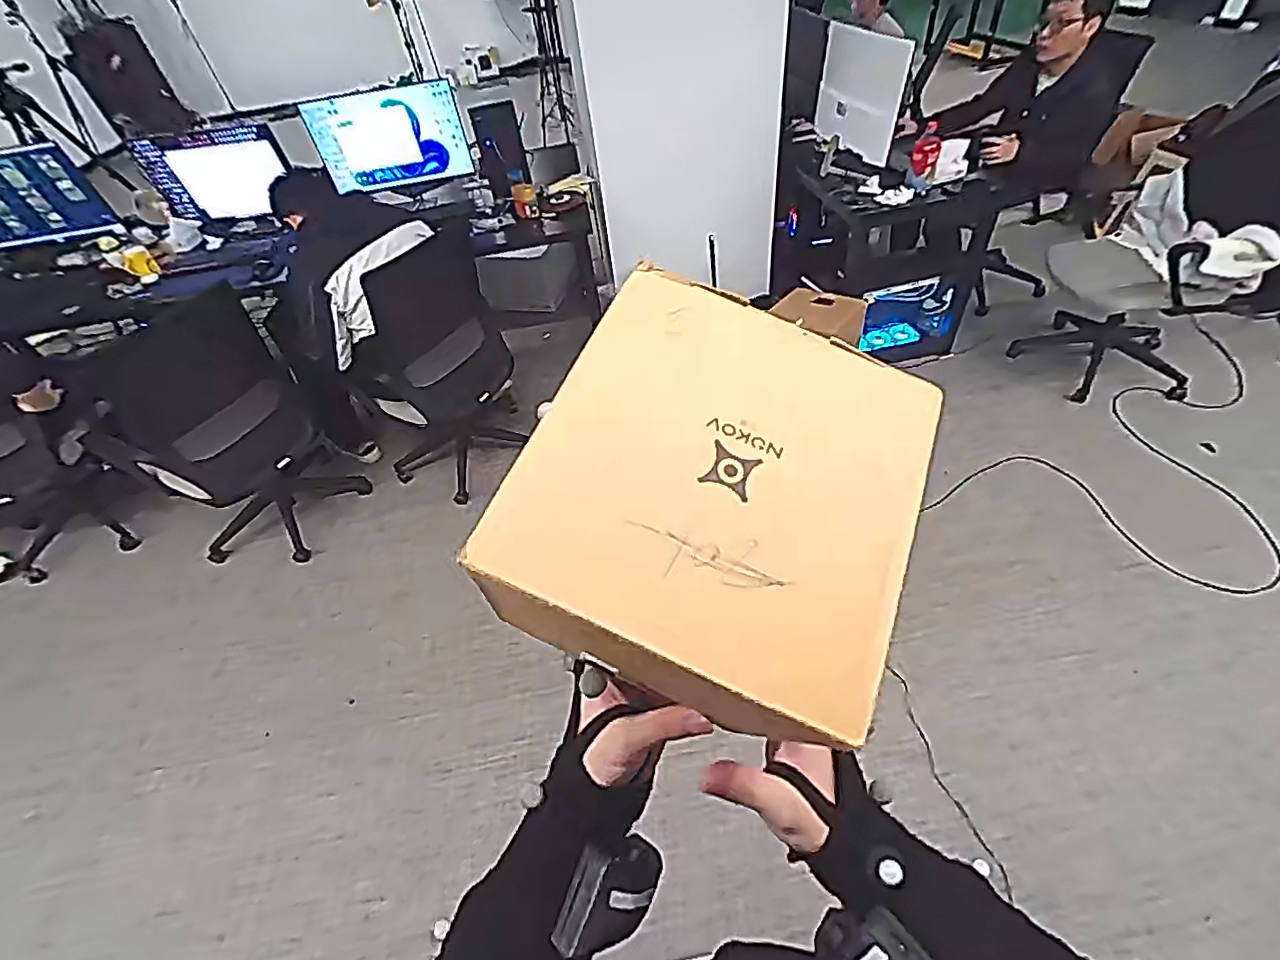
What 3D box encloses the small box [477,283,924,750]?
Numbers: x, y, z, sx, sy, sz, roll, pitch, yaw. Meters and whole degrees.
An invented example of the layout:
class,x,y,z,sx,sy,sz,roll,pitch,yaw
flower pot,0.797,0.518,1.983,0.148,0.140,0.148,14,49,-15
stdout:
class,x,y,z,sx,sy,sz,roll,pitch,yaw
small box,0.028,0.031,0.318,0.168,0.176,0.179,24,66,3
